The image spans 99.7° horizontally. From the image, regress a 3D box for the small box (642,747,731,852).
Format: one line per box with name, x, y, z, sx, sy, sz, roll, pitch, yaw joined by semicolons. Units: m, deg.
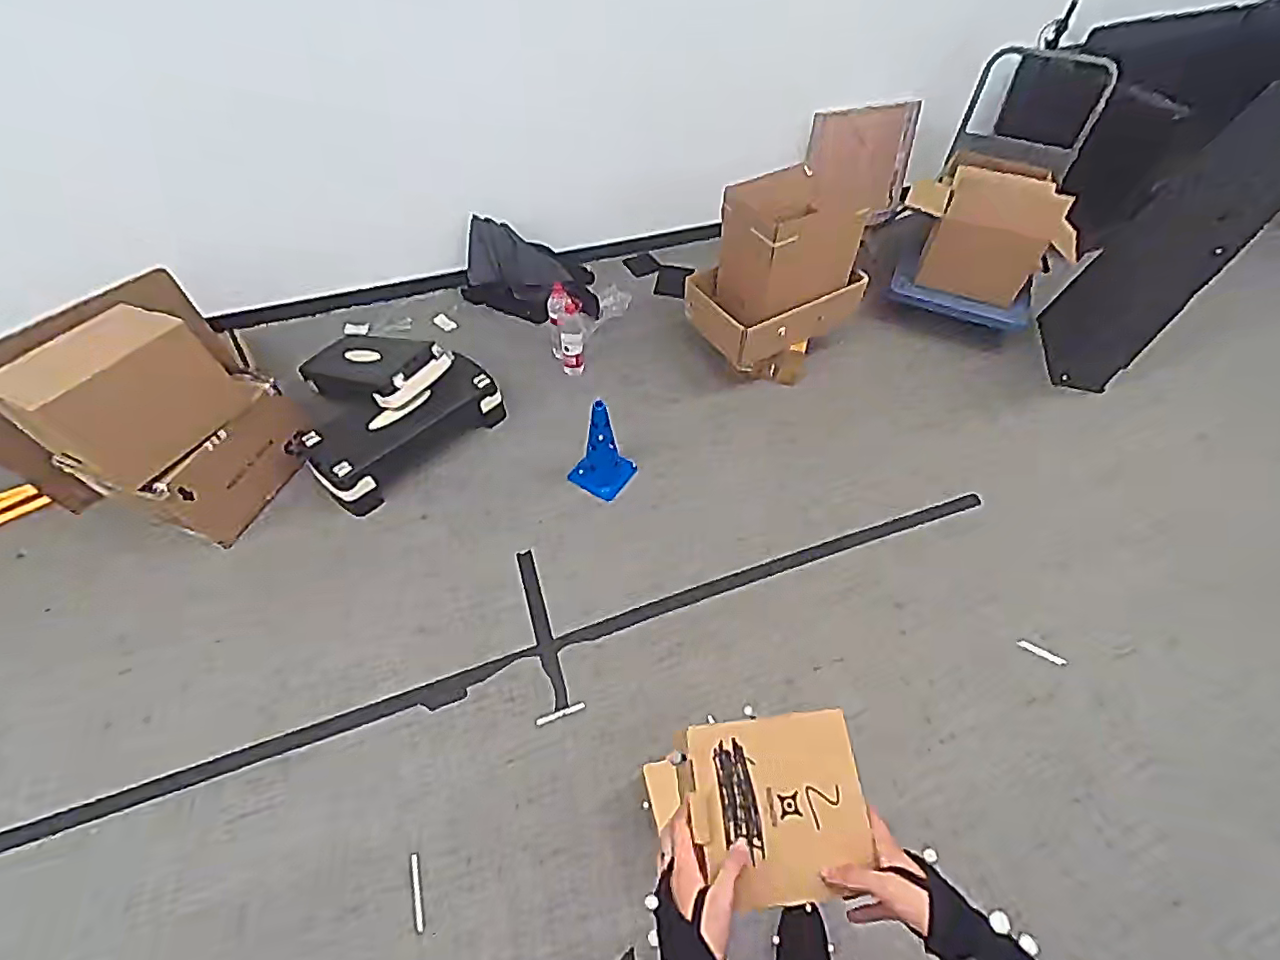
small box;0.106;0.774;1.306;0.168;0.176;0.179;-12;54;-10
